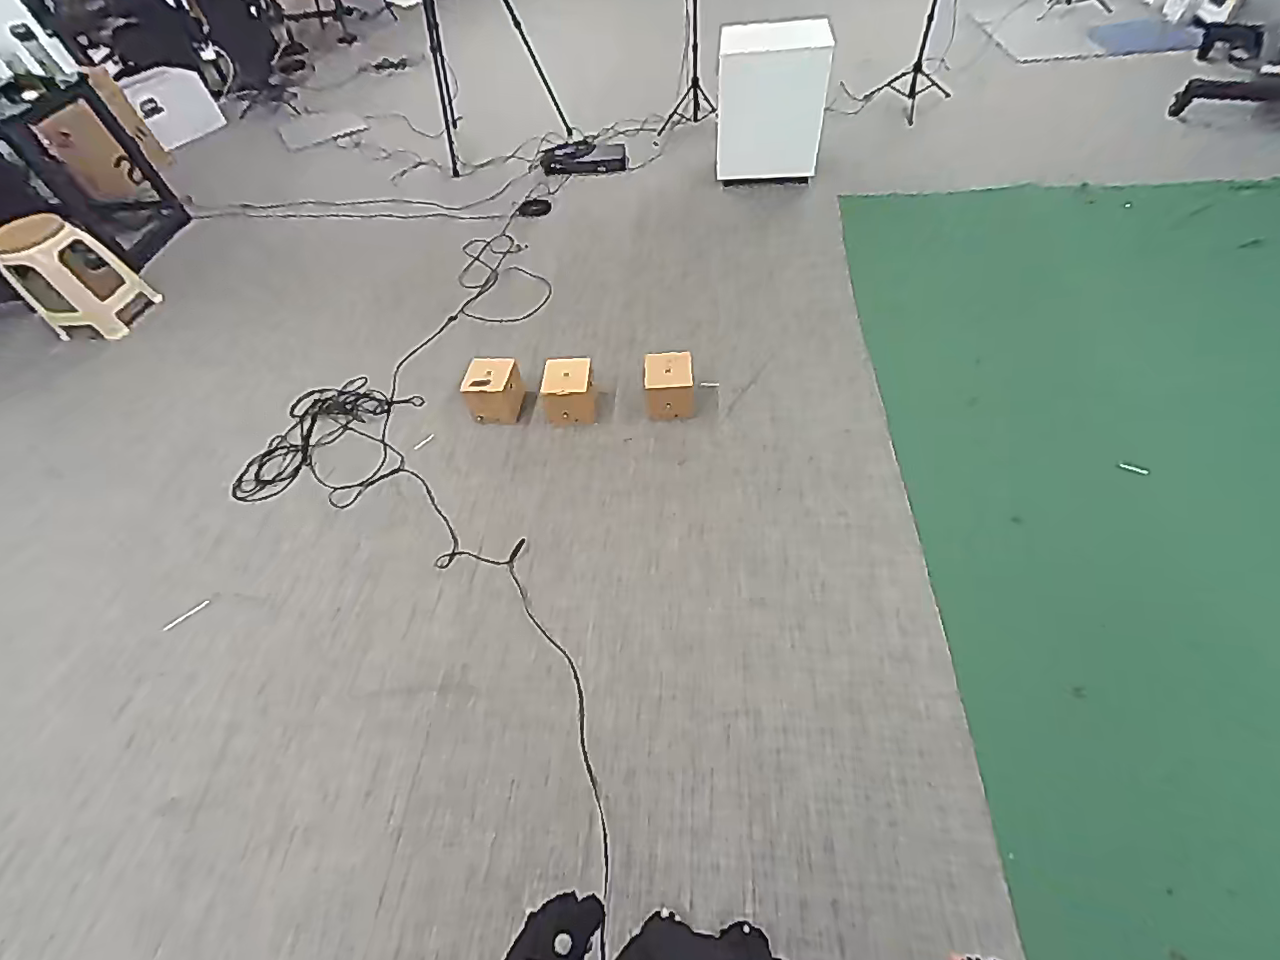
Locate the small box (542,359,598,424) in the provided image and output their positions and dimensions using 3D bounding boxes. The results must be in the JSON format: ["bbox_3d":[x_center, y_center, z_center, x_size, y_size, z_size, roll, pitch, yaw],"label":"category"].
[{"bbox_3d":[-0.252,-0.325,1.994,0.168,0.176,0.179,-1,54,5],"label":"small box"}]

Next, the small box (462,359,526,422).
[{"bbox_3d":[-0.540,-0.335,2.032,0.168,0.176,0.179,3,53,8],"label":"small box"}]

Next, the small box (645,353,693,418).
[{"bbox_3d":[0.106,-0.337,1.962,0.168,0.176,0.179,-2,54,4],"label":"small box"}]
